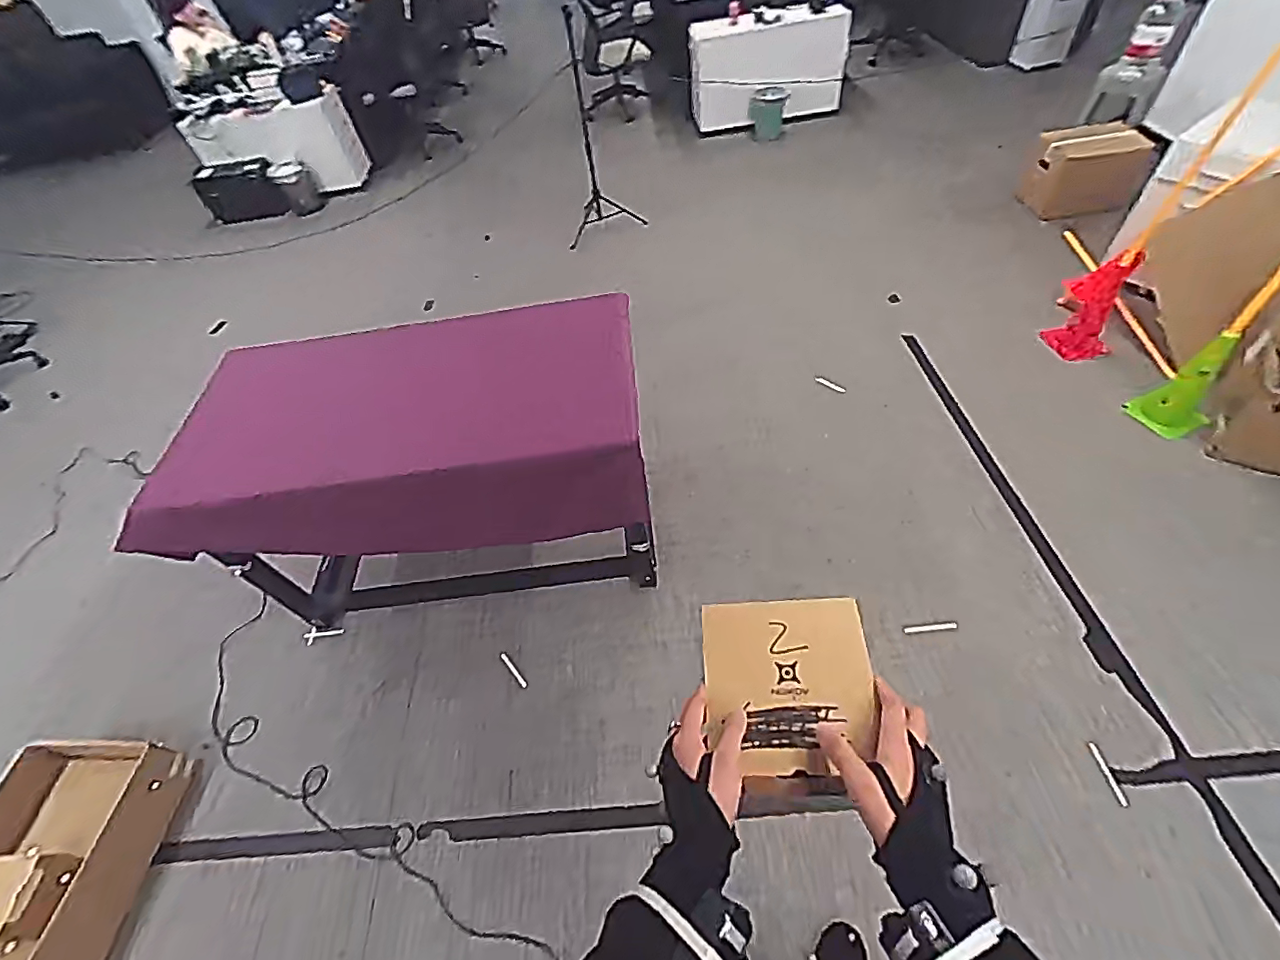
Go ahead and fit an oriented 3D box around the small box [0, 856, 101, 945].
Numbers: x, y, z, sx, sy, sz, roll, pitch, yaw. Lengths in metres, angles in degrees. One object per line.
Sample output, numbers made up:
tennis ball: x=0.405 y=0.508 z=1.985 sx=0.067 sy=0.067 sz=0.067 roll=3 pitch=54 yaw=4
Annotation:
small box: x=-1.509 y=1.033 z=1.328 sx=0.179 sy=0.176 sz=0.168 roll=-7 pitch=49 yaw=3
